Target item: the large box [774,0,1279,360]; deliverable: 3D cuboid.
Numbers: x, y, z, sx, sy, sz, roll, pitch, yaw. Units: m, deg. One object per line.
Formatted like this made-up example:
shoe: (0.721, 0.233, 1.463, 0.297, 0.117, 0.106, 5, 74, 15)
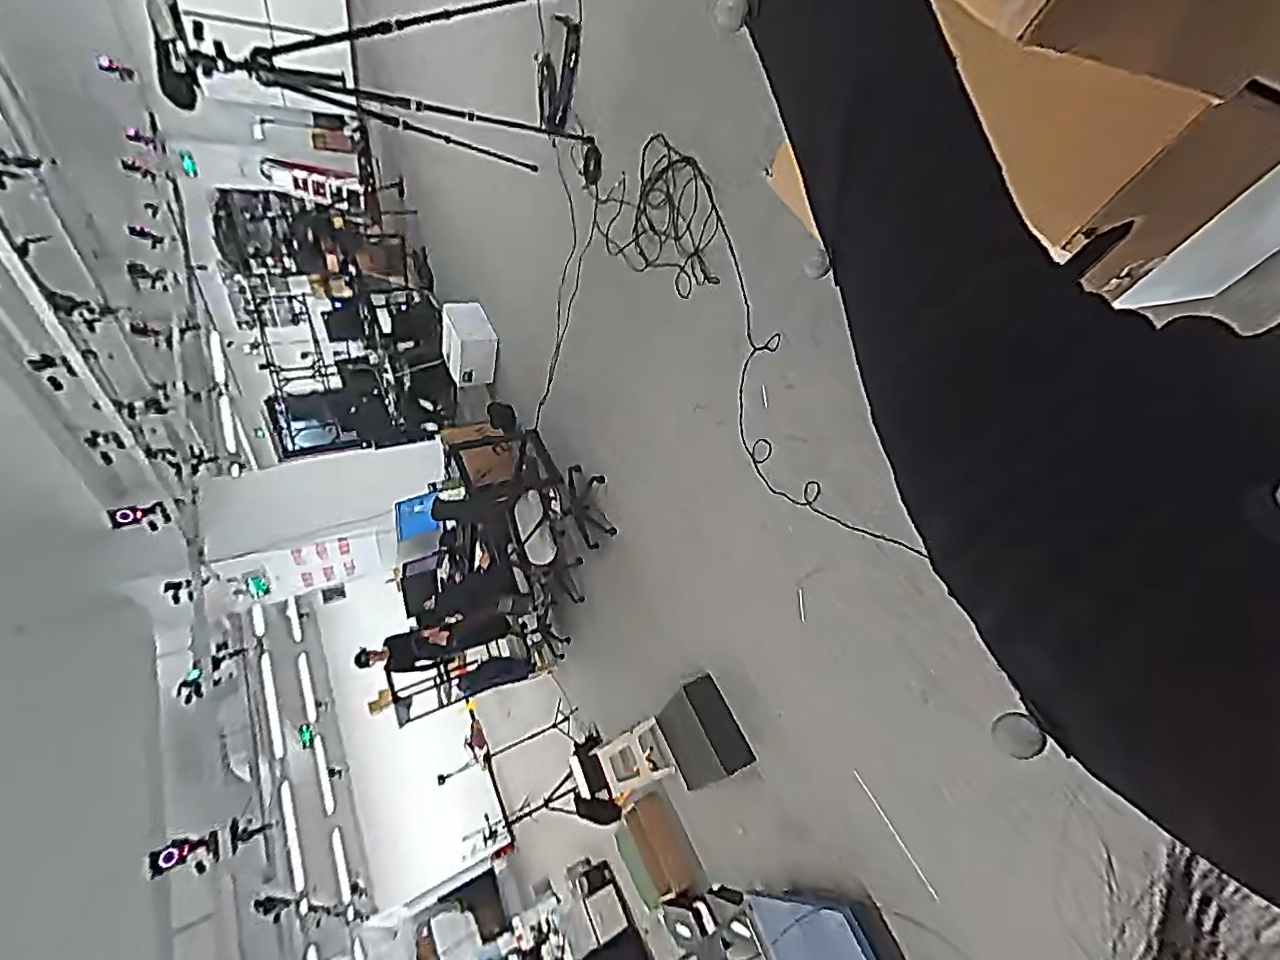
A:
large box: (0.460, -0.413, 0.695, 0.408, 0.320, 0.320, 62, 148, 25)
